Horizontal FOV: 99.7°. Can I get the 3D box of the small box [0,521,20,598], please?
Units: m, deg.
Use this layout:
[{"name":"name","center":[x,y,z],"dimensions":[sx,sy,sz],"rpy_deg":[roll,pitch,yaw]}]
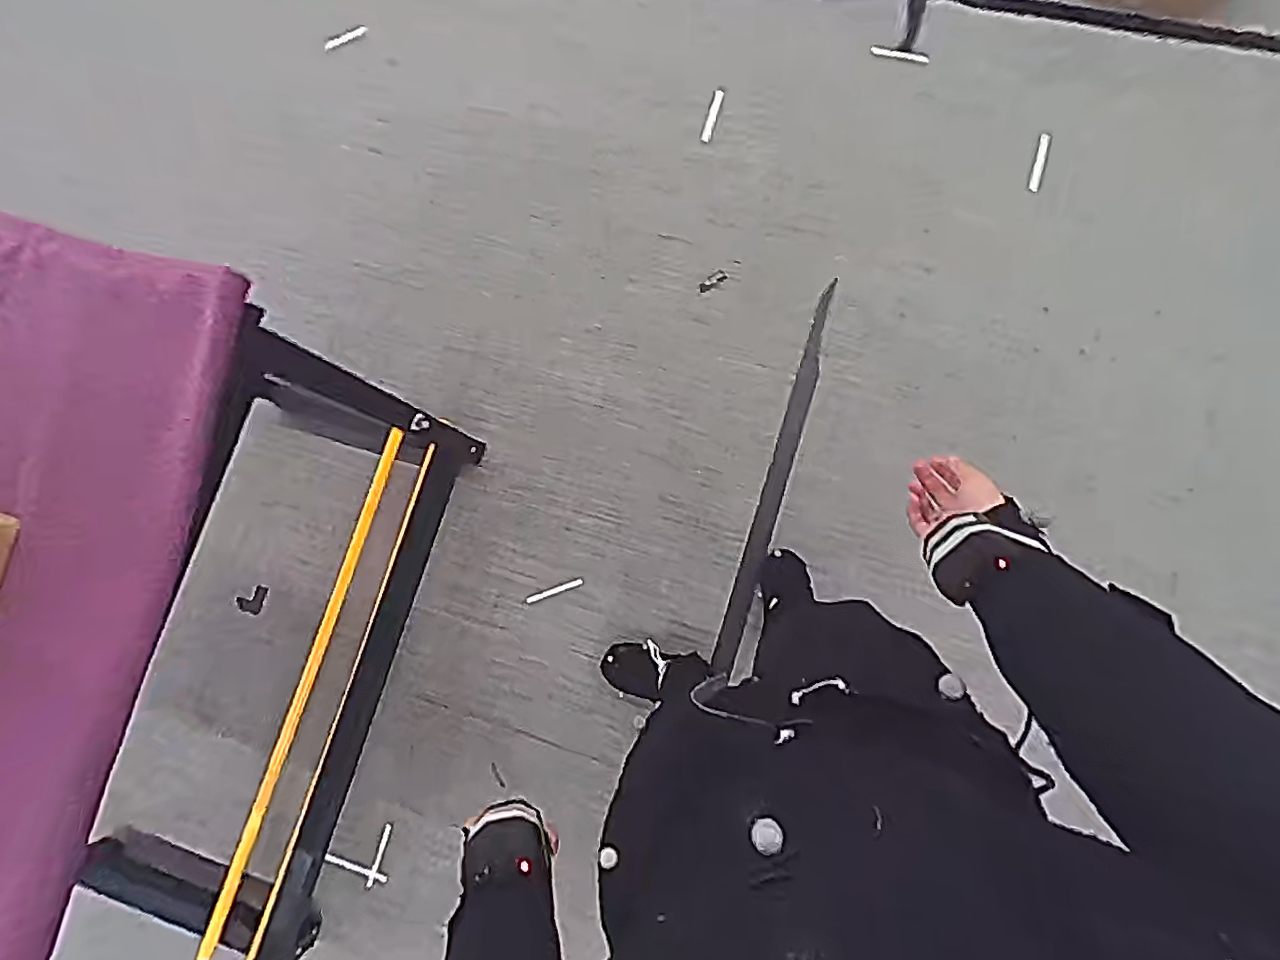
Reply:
[{"name":"small box","center":[-0.785,0.100,0.524],"dimensions":[0.168,0.176,0.179],"rpy_deg":[14,84,7]}]
